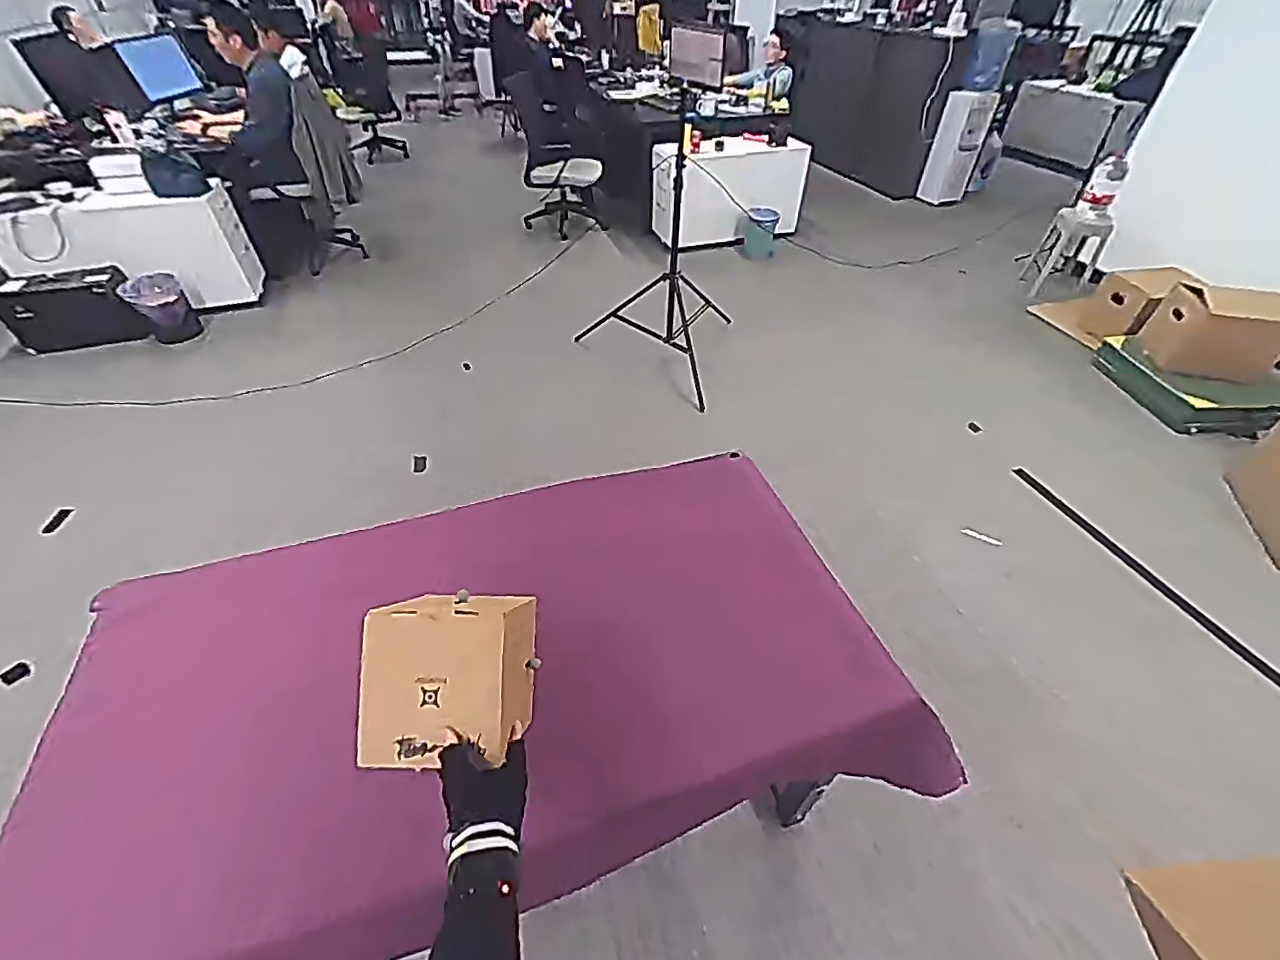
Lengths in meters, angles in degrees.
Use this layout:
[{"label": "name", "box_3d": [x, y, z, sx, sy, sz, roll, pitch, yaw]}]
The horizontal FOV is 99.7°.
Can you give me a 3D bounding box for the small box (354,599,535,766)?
[{"label": "small box", "box_3d": [-0.235, 0.246, 0.696, 0.168, 0.176, 0.179, 0, 80, 2]}]
